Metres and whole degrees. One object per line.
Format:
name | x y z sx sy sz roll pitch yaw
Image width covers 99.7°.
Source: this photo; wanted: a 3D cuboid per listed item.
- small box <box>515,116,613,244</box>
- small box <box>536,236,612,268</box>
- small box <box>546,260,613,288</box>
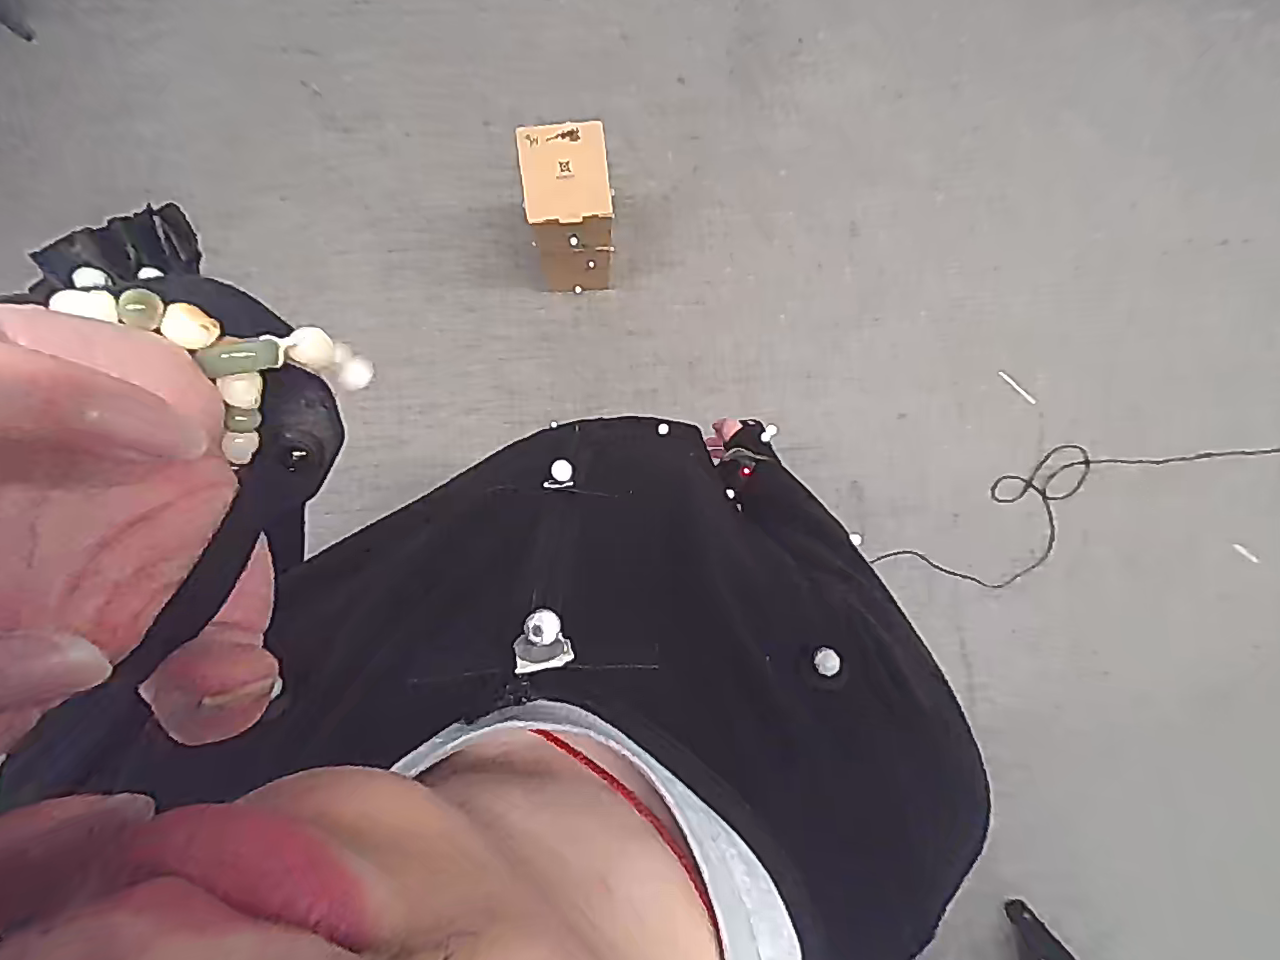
small box | -0.144 -0.590 1.088 0.168 0.176 0.179 -7 96 -2
small box | -0.153 -0.603 1.251 0.168 0.176 0.179 -5 93 -3
small box | -0.159 -0.616 1.412 0.168 0.176 0.179 -4 95 -2
